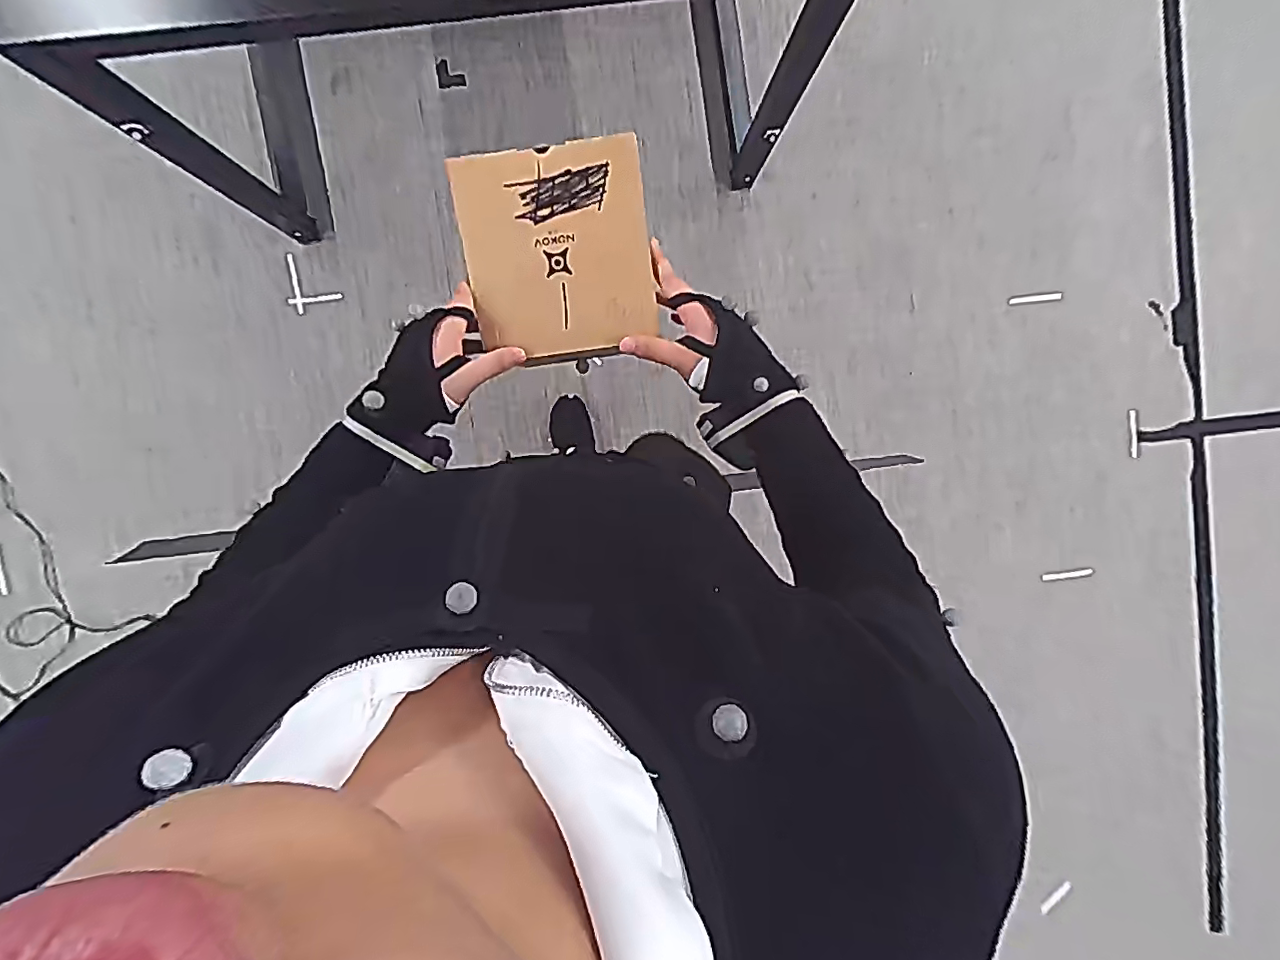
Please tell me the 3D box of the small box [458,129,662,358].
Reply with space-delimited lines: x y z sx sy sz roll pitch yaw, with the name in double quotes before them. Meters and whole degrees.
"small box" -0.070 -0.225 0.560 0.168 0.176 0.179 -6 101 2
